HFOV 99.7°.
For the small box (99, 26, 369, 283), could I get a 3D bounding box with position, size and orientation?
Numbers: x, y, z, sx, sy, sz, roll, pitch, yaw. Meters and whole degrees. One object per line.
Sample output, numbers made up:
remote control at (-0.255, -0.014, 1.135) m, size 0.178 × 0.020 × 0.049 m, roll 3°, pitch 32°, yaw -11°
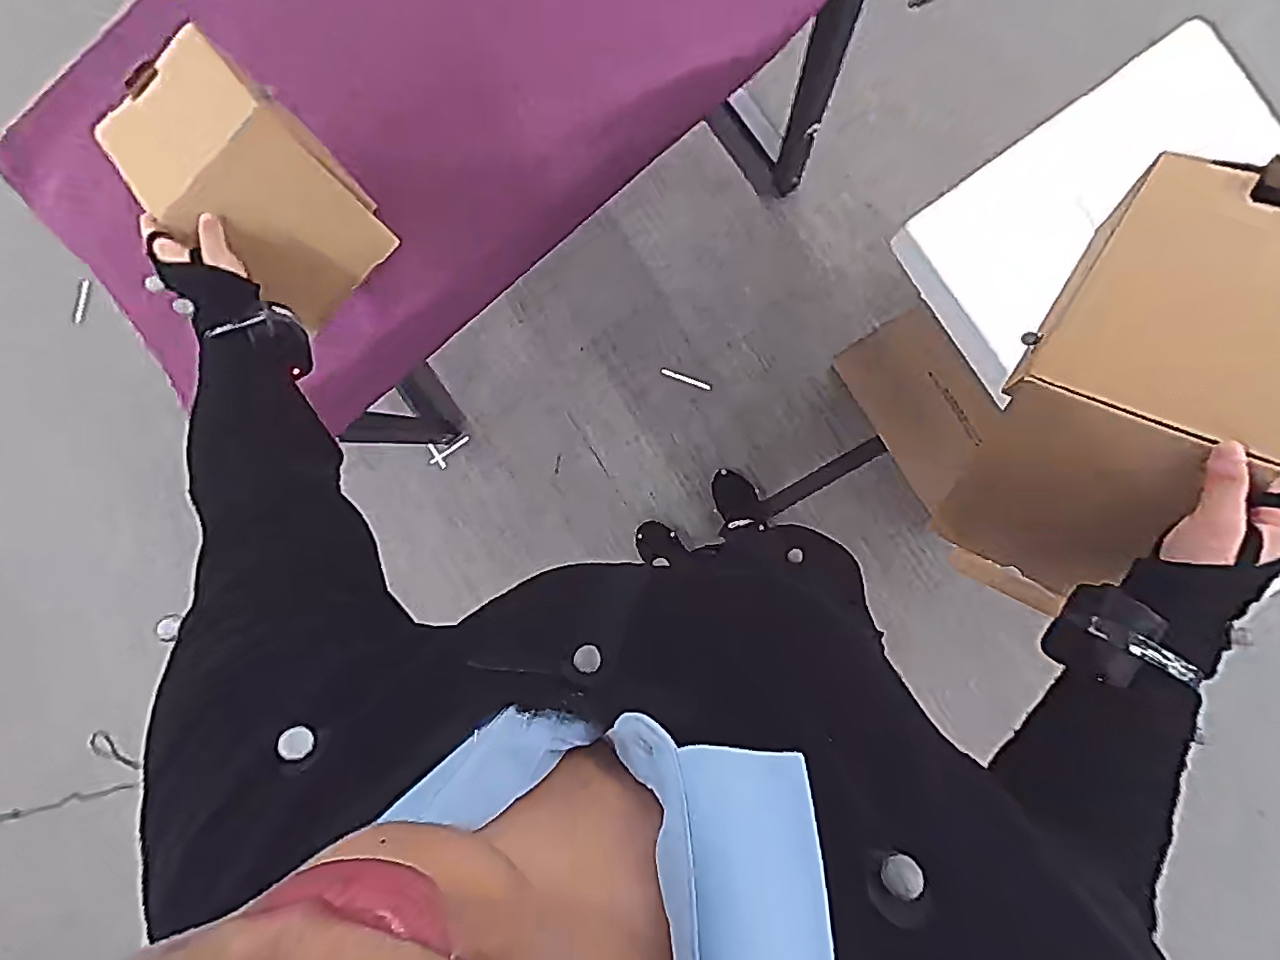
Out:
small box at (-0.471, -0.368, 0.649) m, size 0.168 × 0.176 × 0.179 m, roll -43°, pitch 73°, yaw 5°
